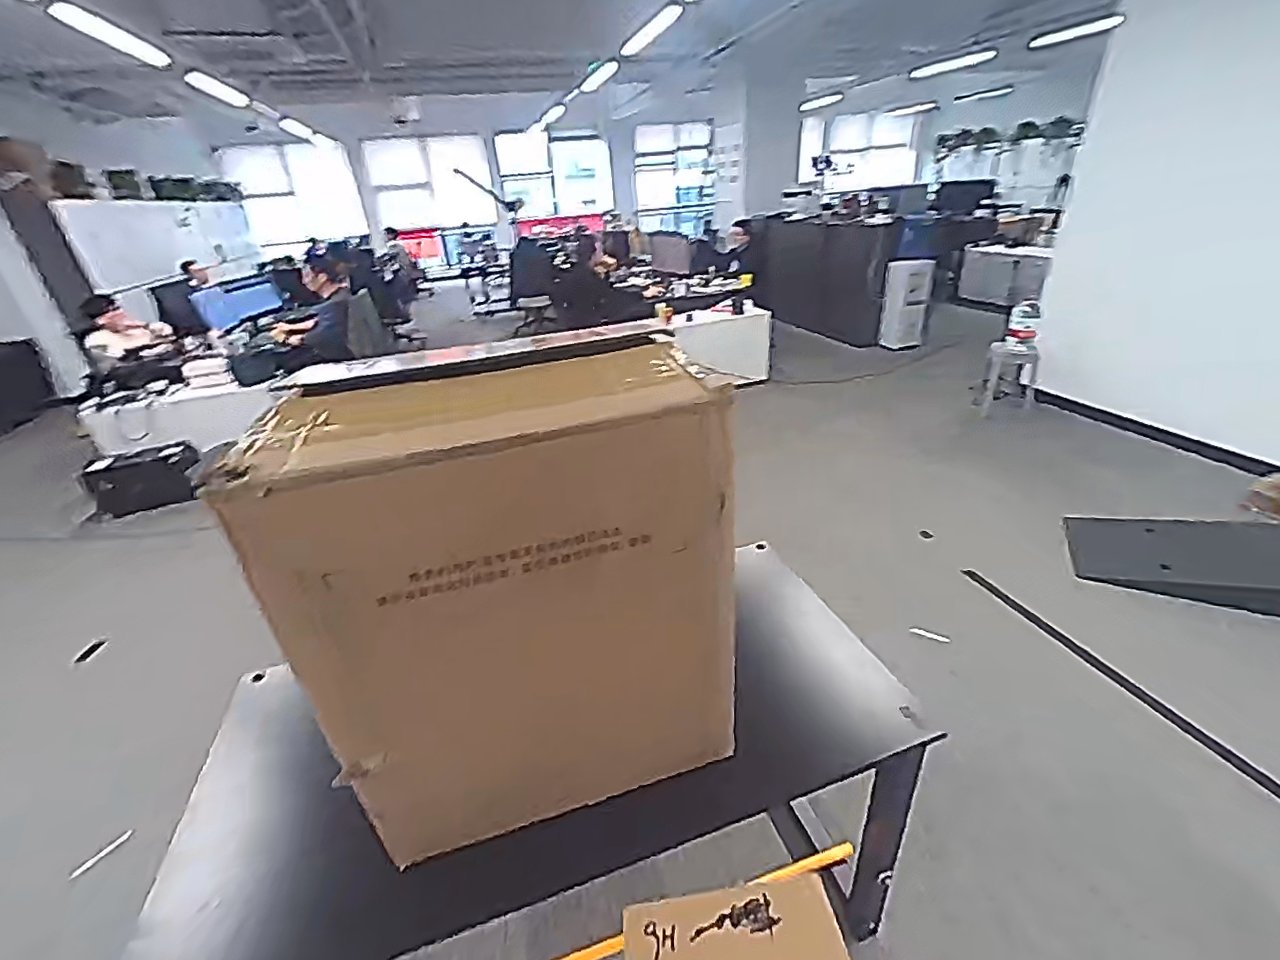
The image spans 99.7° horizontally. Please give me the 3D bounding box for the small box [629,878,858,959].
[{"bbox_3d":[0.087,0.441,0.396,0.168,0.176,0.179,-7,29,-3],"label":"small box"}]
